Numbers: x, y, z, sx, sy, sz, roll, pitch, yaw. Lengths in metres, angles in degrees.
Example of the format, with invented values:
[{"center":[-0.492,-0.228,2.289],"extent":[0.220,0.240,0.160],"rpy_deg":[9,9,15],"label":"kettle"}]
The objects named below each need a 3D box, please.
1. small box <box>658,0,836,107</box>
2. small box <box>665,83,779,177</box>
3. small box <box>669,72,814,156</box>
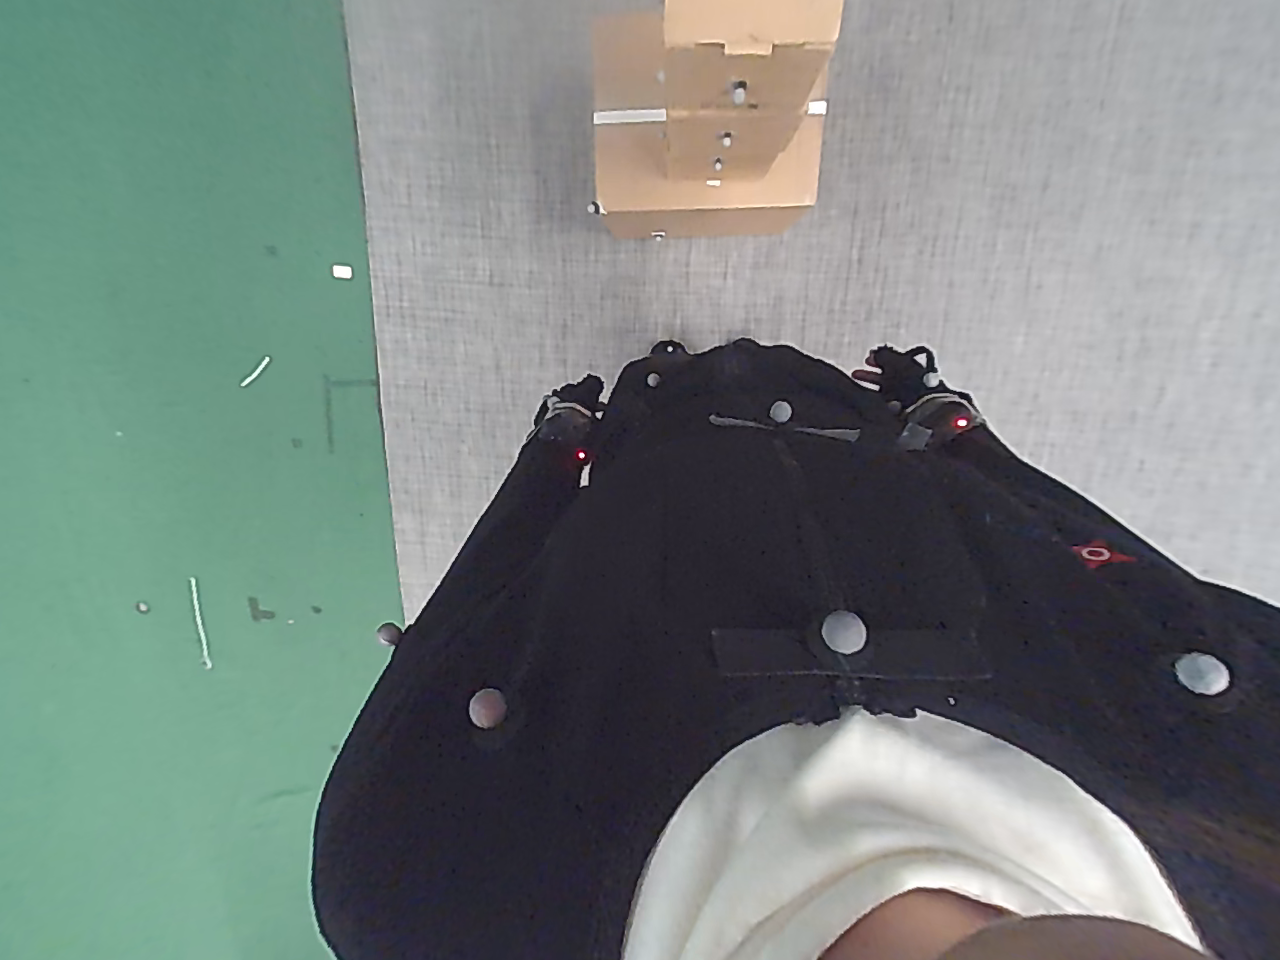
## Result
[{"center":[0.112,-0.516,0.564],"extent":[0.168,0.176,0.179],"rpy_deg":[5,107,4],"label":"small box"},{"center":[0.133,-0.604,0.879],"extent":[0.179,0.176,0.168],"rpy_deg":[2,107,3],"label":"small box"},{"center":[0.127,-0.552,0.723],"extent":[0.179,0.176,0.168],"rpy_deg":[-2,107,5],"label":"small box"}]
